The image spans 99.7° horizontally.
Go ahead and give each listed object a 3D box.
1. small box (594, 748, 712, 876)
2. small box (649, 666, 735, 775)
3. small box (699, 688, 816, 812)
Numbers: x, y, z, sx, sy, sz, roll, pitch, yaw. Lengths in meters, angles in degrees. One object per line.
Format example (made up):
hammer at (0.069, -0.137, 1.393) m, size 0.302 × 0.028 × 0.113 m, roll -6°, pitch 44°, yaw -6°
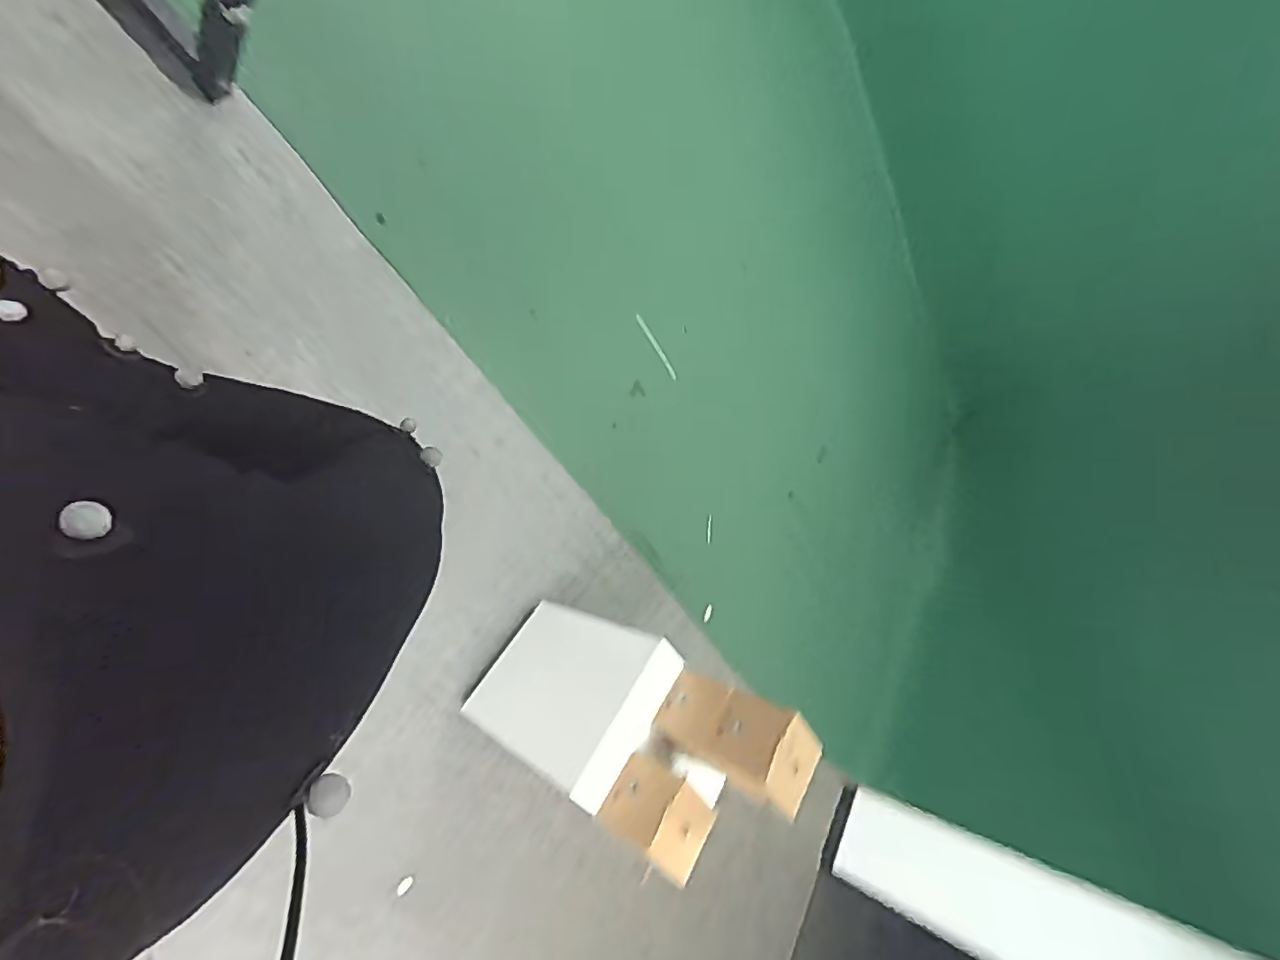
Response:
small box at (0.029, 0.752, 1.242) m, size 0.168 × 0.176 × 0.179 m, roll -52°, pitch 124°, yaw -30°
small box at (0.156, 0.593, 1.353) m, size 0.168 × 0.176 × 0.179 m, roll -53°, pitch 123°, yaw -27°
small box at (0.267, 0.604, 1.232) m, size 0.168 × 0.176 × 0.179 m, roll -52°, pitch 124°, yaw -28°
